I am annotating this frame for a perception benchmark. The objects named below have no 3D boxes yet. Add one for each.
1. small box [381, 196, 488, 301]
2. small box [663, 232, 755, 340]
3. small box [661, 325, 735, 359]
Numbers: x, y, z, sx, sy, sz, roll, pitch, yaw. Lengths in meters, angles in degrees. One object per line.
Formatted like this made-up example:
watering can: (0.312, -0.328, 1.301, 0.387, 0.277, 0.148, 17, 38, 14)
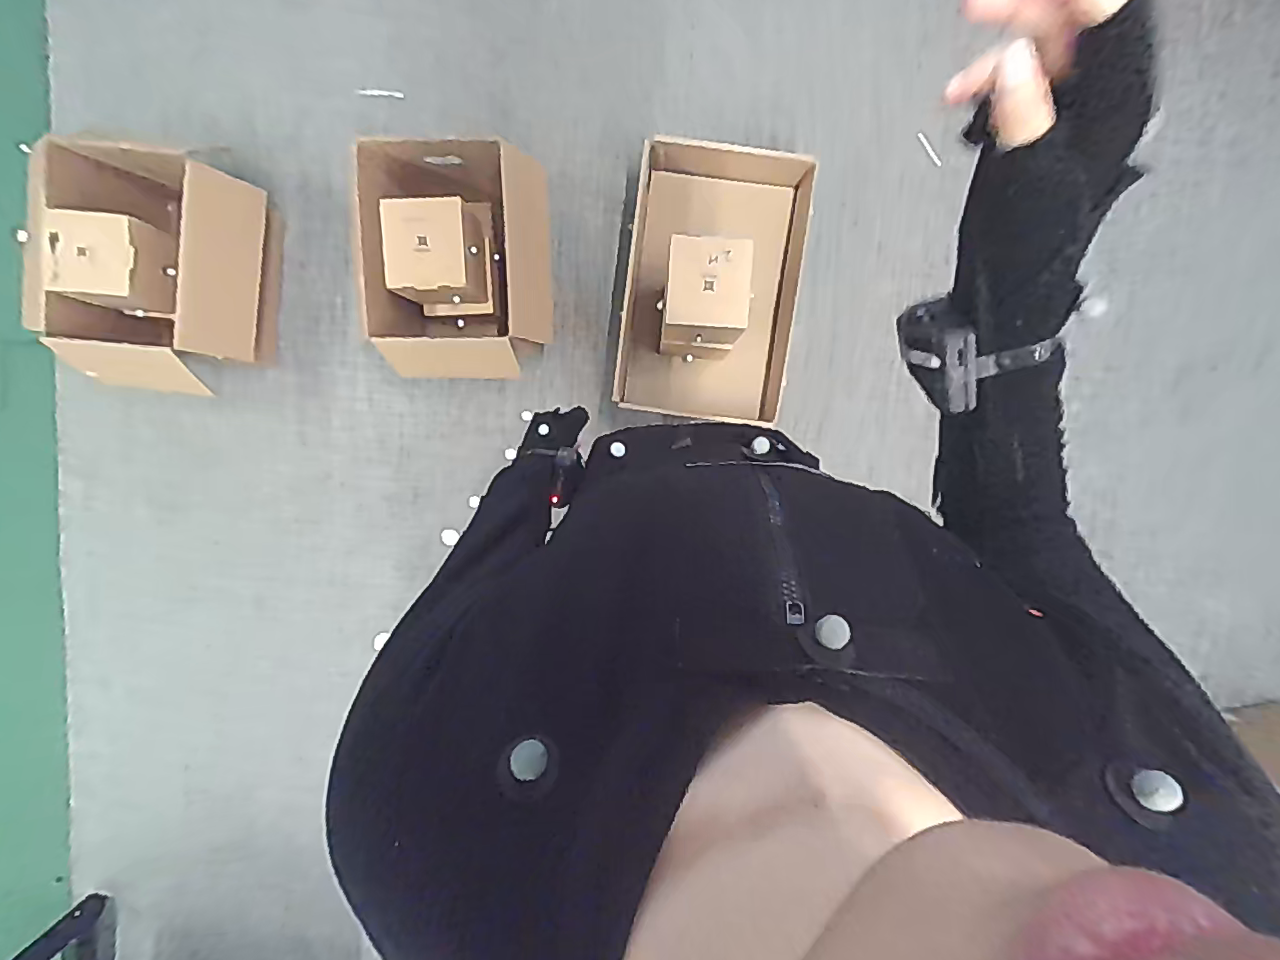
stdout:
small box: (-0.433, -0.488, 1.165, 0.168, 0.176, 0.179, -1, 97, 0)
small box: (0.137, -0.396, 1.134, 0.168, 0.176, 0.179, 3, 94, -1)
small box: (0.142, -0.399, 1.298, 0.168, 0.176, 0.179, 6, 94, 0)
